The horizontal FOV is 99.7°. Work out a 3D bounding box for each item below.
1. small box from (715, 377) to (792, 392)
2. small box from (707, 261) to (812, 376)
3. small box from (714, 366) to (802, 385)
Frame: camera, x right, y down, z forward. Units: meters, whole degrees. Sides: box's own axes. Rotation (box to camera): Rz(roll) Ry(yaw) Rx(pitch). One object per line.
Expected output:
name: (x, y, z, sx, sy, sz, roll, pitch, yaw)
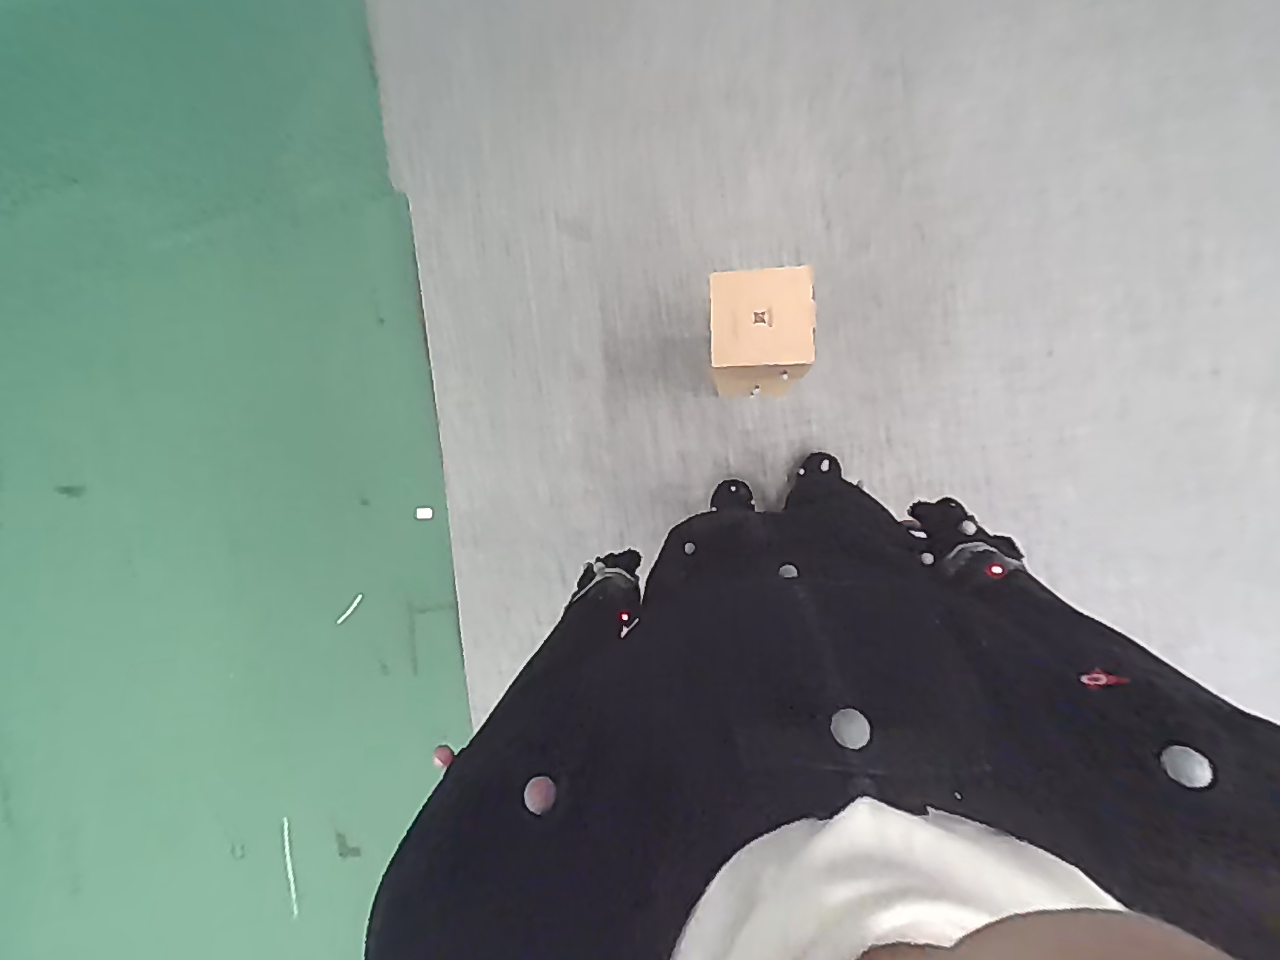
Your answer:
small box: (0.274, -0.308, 1.321, 0.179, 0.176, 0.168, -1, 92, 11)
small box: (0.217, -0.289, 1.001, 0.179, 0.176, 0.168, -1, 91, 11)
small box: (0.246, -0.299, 1.163, 0.179, 0.176, 0.168, -3, 93, 11)
